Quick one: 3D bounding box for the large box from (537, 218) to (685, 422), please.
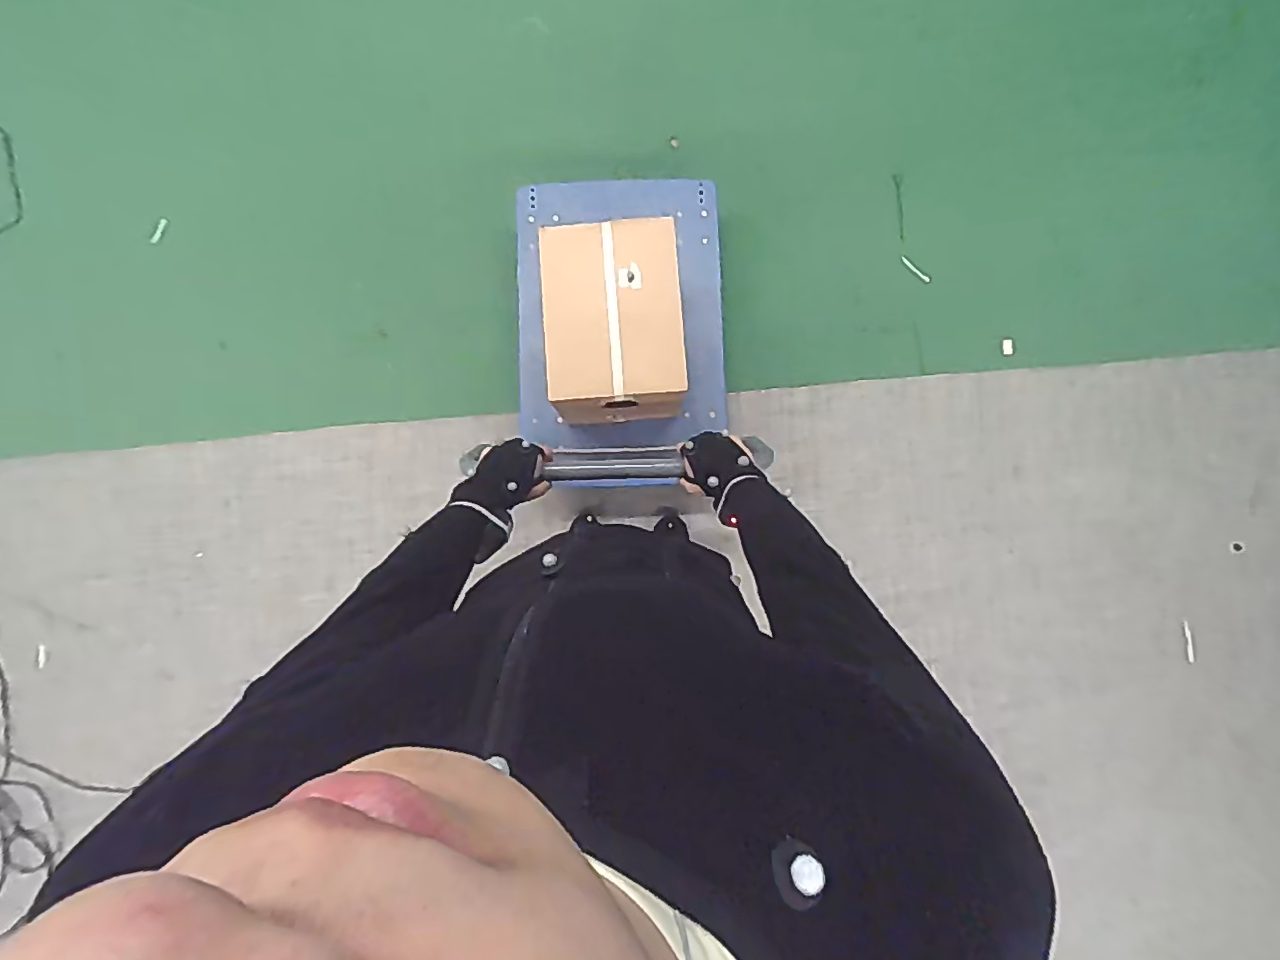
[{"bbox_3d":[-0.064,-0.380,1.369,0.320,0.320,0.408,-4,86,0],"label":"large box"}]
